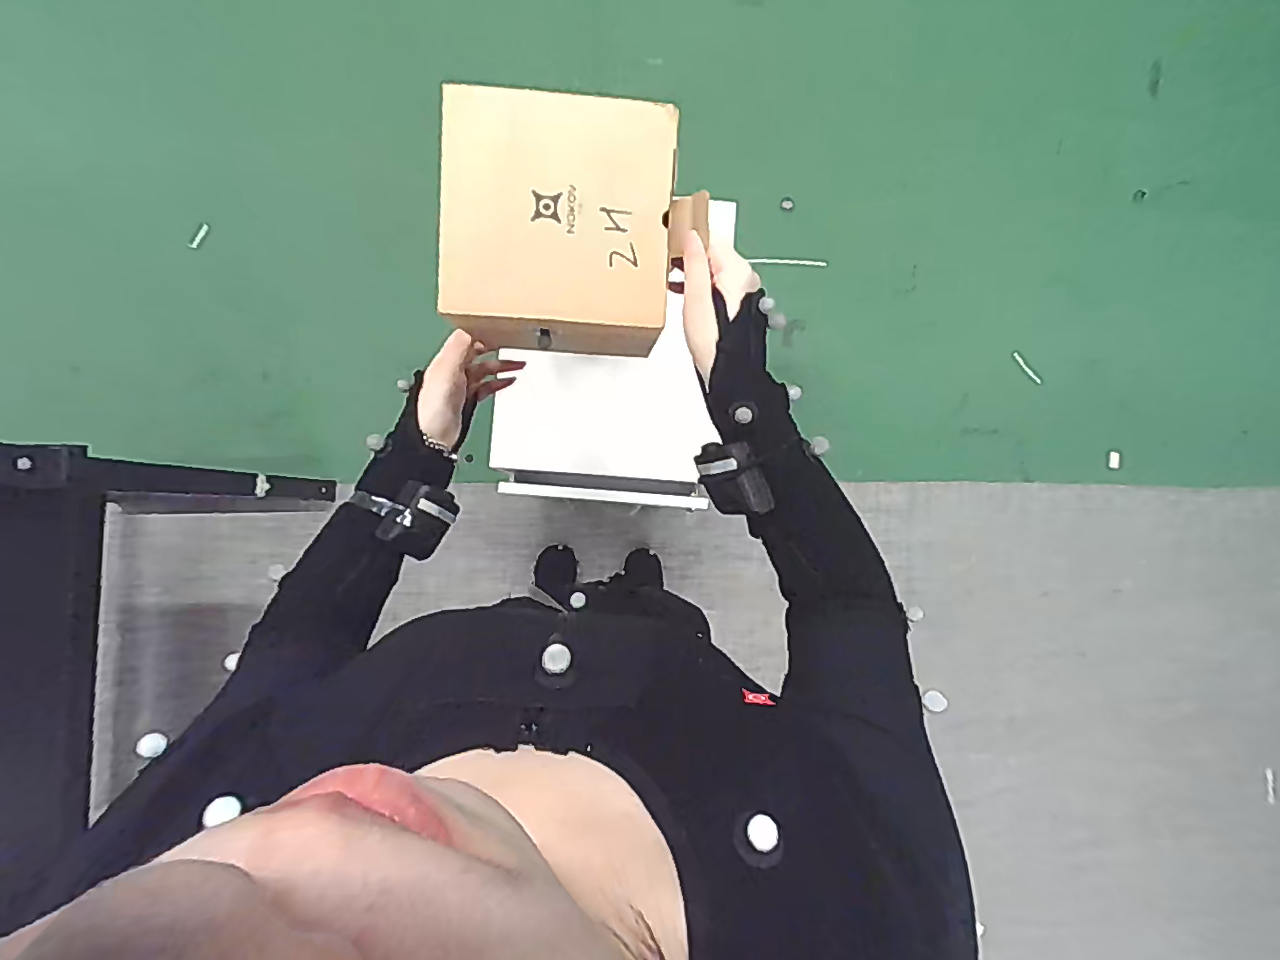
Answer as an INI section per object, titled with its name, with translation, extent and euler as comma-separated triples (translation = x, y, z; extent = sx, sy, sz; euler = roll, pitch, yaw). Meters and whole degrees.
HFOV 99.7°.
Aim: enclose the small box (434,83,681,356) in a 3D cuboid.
[small box]
translation = -0.066, -0.205, 0.476
extent = 0.179, 0.176, 0.168
euler = 3, 96, -5
